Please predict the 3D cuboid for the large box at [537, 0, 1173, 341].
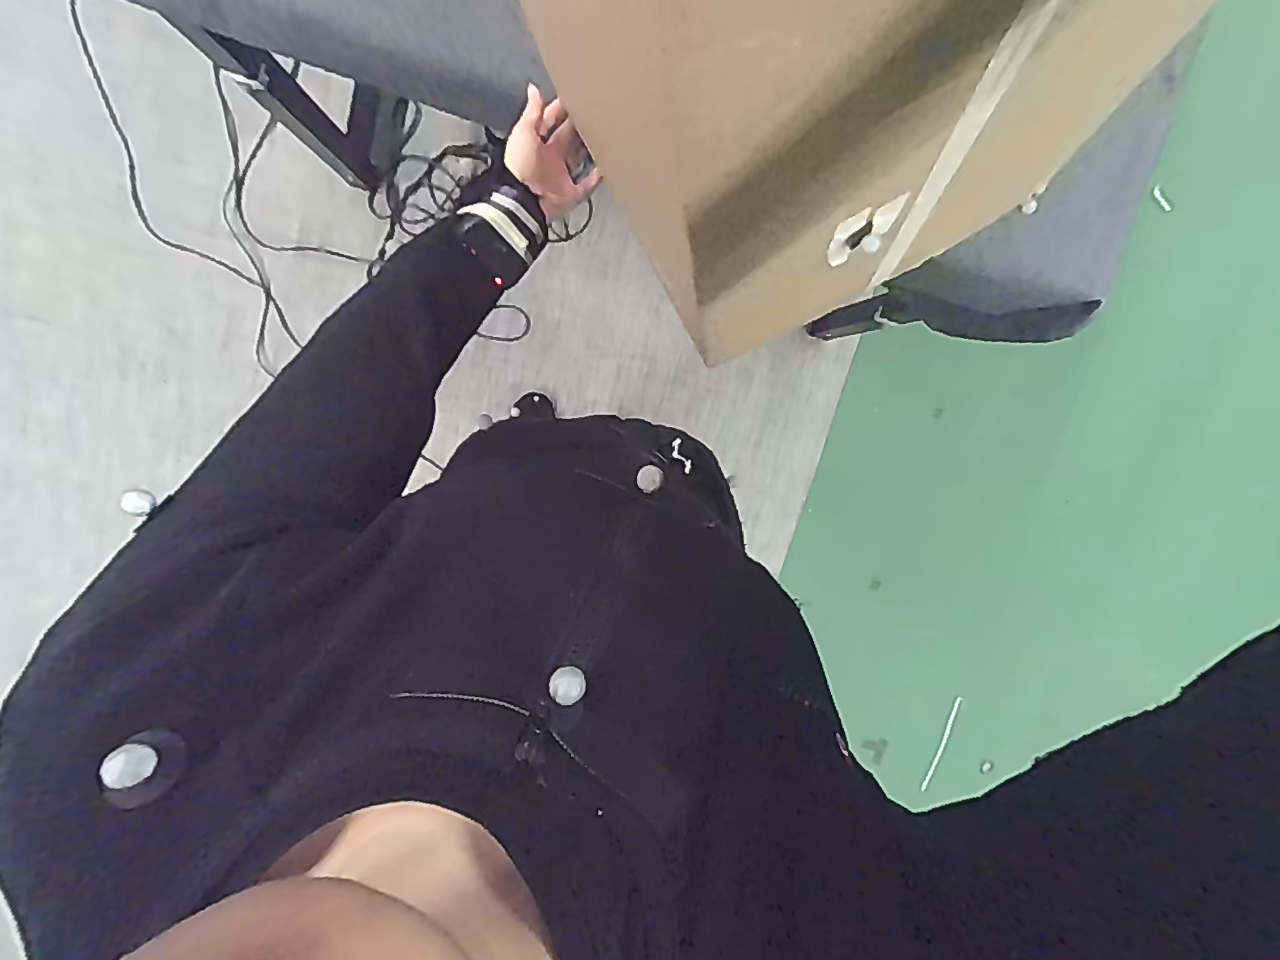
[{"bbox_3d":[0.100,-0.339,0.298,0.320,0.408,0.320,-28,83,6],"label":"large box"}]
